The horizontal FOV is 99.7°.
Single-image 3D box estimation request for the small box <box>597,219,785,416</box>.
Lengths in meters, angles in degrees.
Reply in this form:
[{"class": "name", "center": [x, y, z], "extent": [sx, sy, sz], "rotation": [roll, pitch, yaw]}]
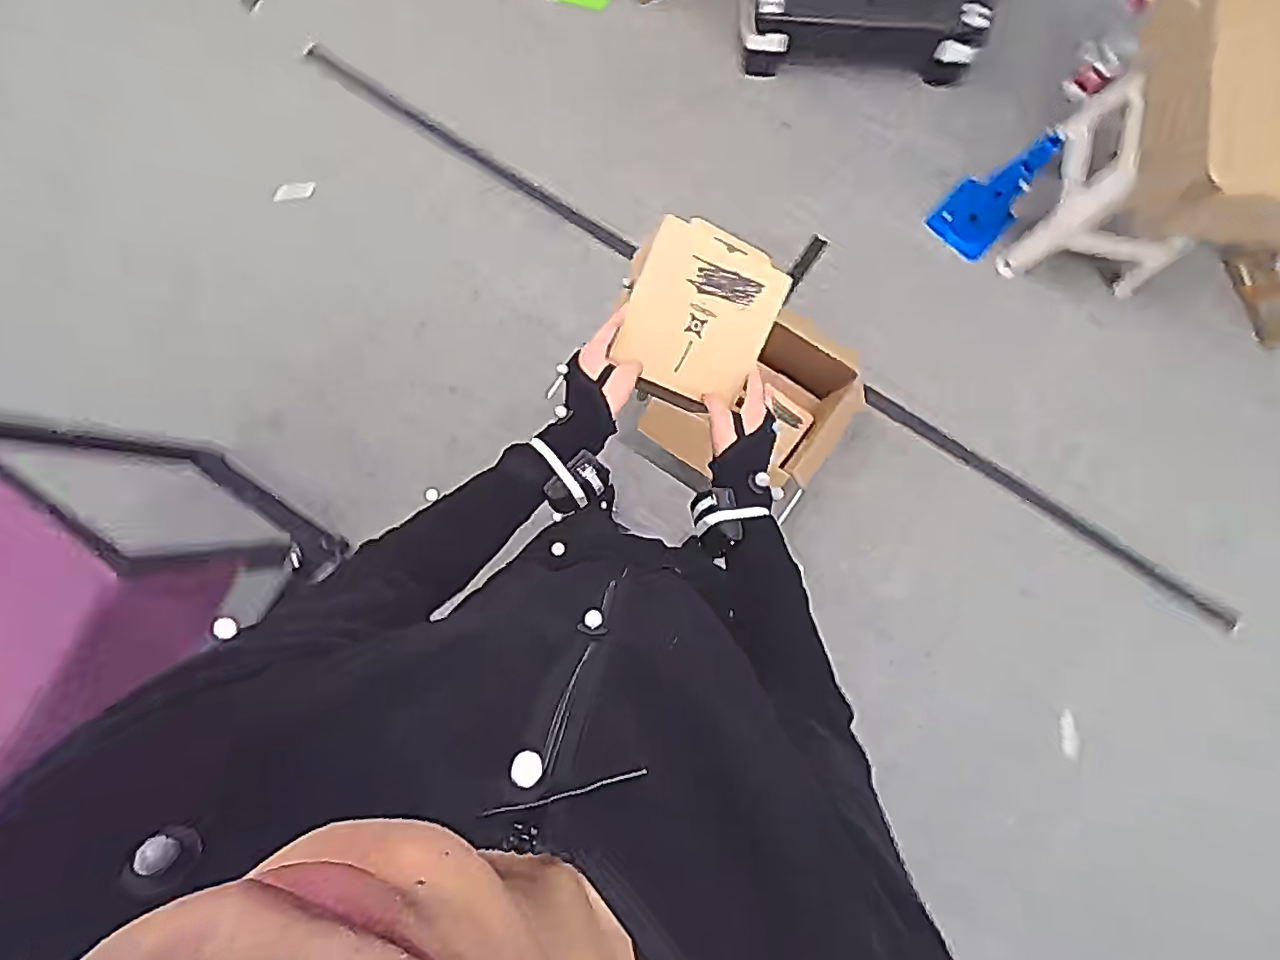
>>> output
[{"class": "small box", "center": [0.052, -0.197, 0.702], "extent": [0.168, 0.176, 0.179], "rotation": [21, 94, -14]}]
